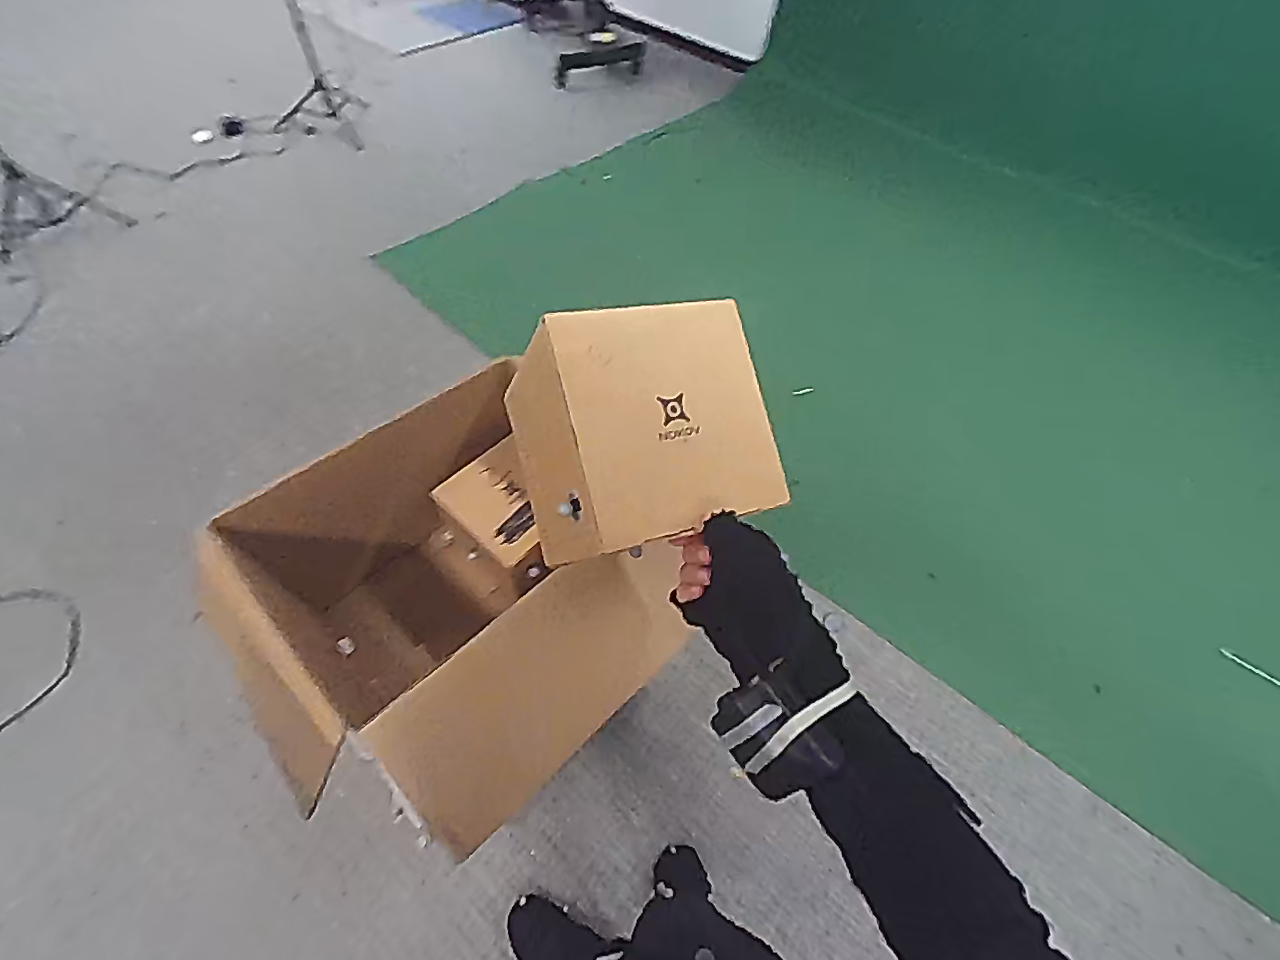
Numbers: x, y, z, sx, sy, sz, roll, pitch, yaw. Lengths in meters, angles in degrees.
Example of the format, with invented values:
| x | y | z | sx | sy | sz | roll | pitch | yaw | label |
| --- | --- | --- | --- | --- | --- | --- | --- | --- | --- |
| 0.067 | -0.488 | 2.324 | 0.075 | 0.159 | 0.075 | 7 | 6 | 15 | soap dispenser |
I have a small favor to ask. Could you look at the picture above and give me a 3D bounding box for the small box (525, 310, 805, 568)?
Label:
| x | y | z | sx | sy | sz | roll | pitch | yaw | label |
| --- | --- | --- | --- | --- | --- | --- | --- | --- | --- |
| 0.008 | -0.028 | 0.477 | 0.168 | 0.176 | 0.179 | -12 | 85 | -25 | small box |
